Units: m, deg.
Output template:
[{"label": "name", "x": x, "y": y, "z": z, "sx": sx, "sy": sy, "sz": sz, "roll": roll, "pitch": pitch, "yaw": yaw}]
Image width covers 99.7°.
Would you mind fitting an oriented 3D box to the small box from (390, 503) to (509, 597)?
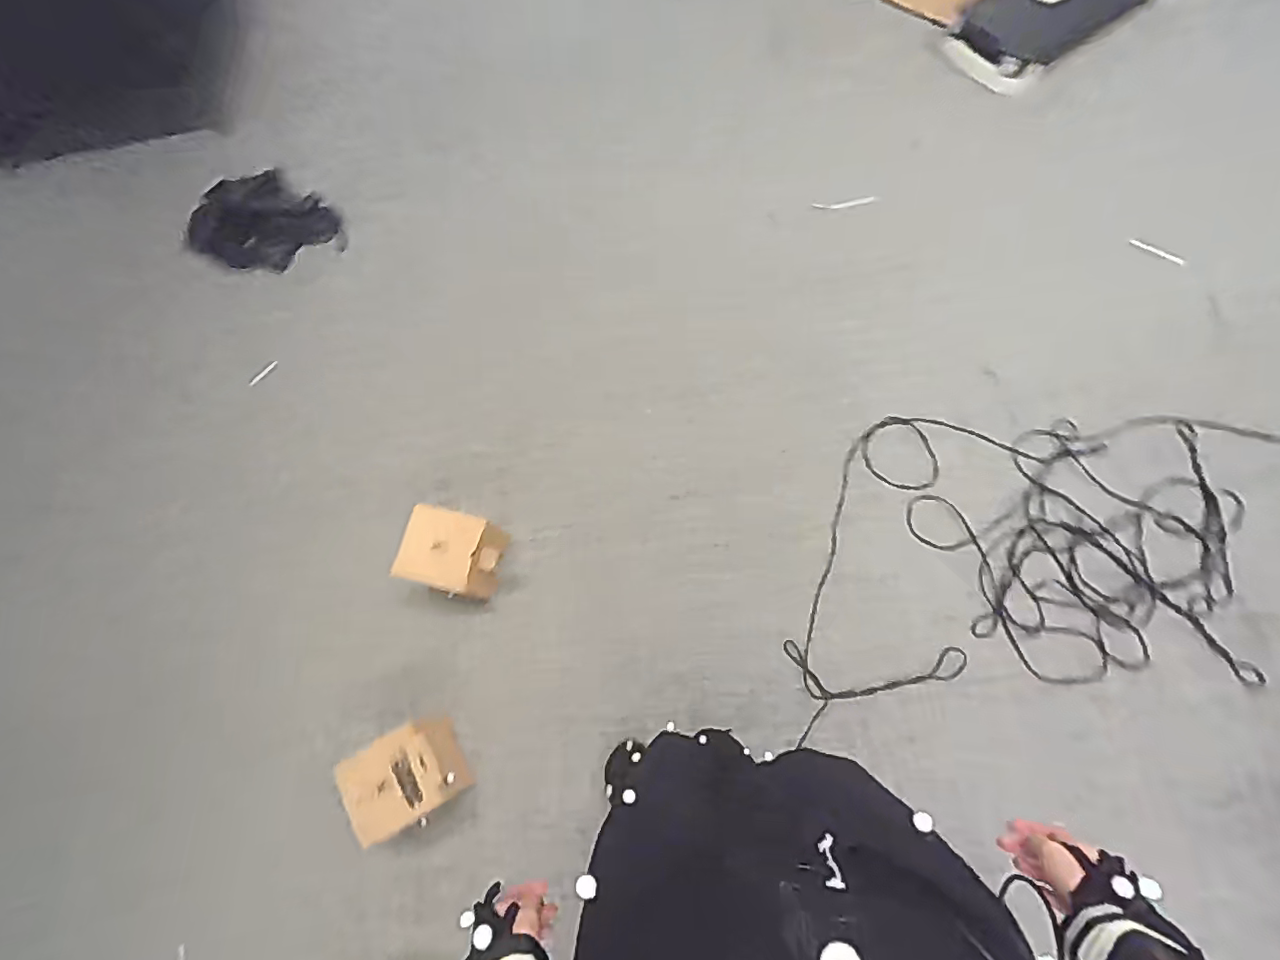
[{"label": "small box", "x": -0.429, "y": 0.168, "z": 1.243, "sx": 0.179, "sy": 0.176, "sz": 0.168, "roll": 11, "pitch": 74, "yaw": 9}]
